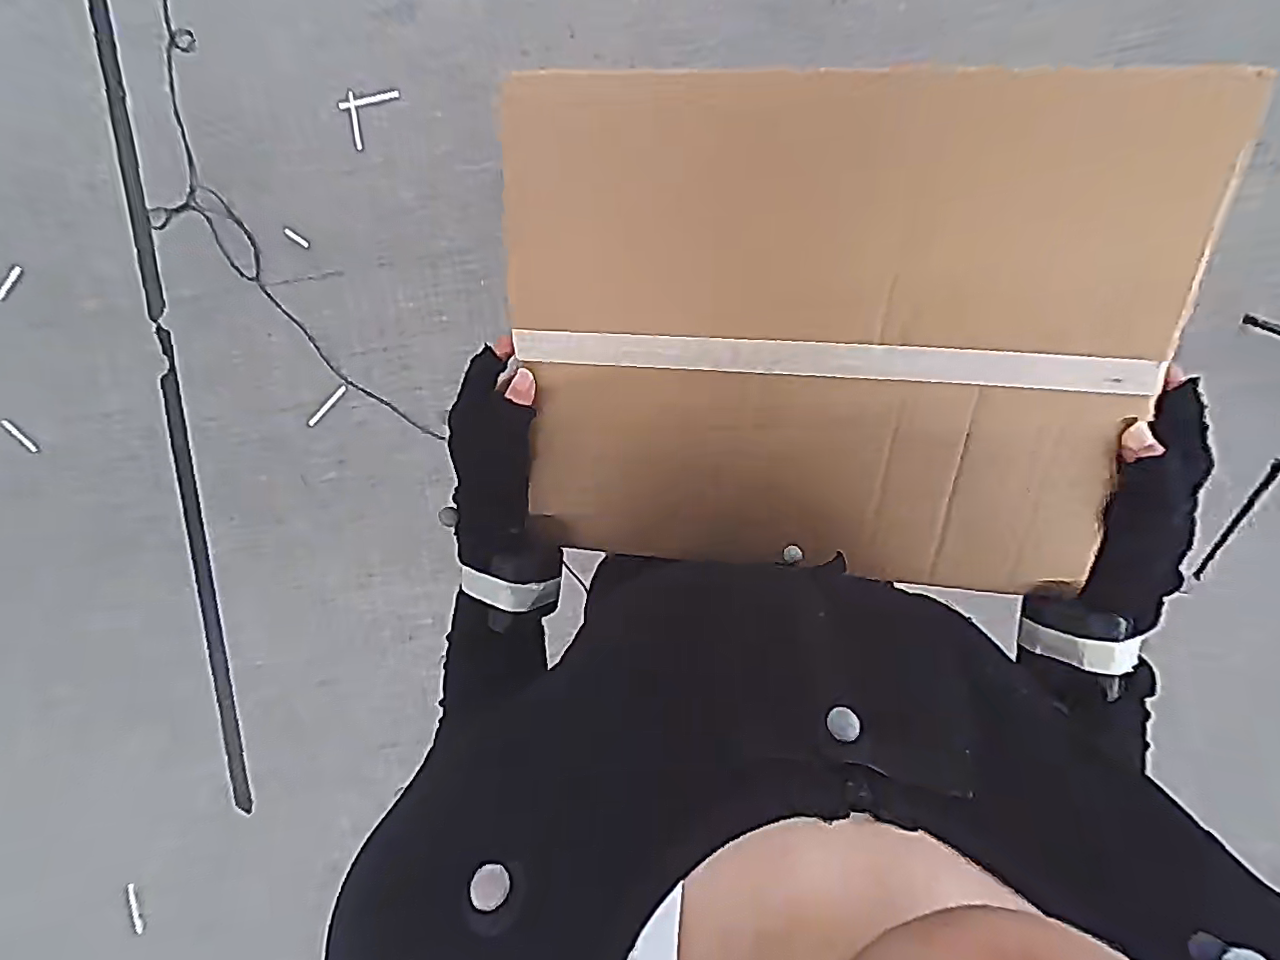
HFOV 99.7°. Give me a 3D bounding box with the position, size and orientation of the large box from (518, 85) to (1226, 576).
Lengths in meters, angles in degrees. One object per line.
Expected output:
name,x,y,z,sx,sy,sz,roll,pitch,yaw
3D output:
large box,0.134,-0.137,0.504,0.408,0.320,0.320,5,113,6
